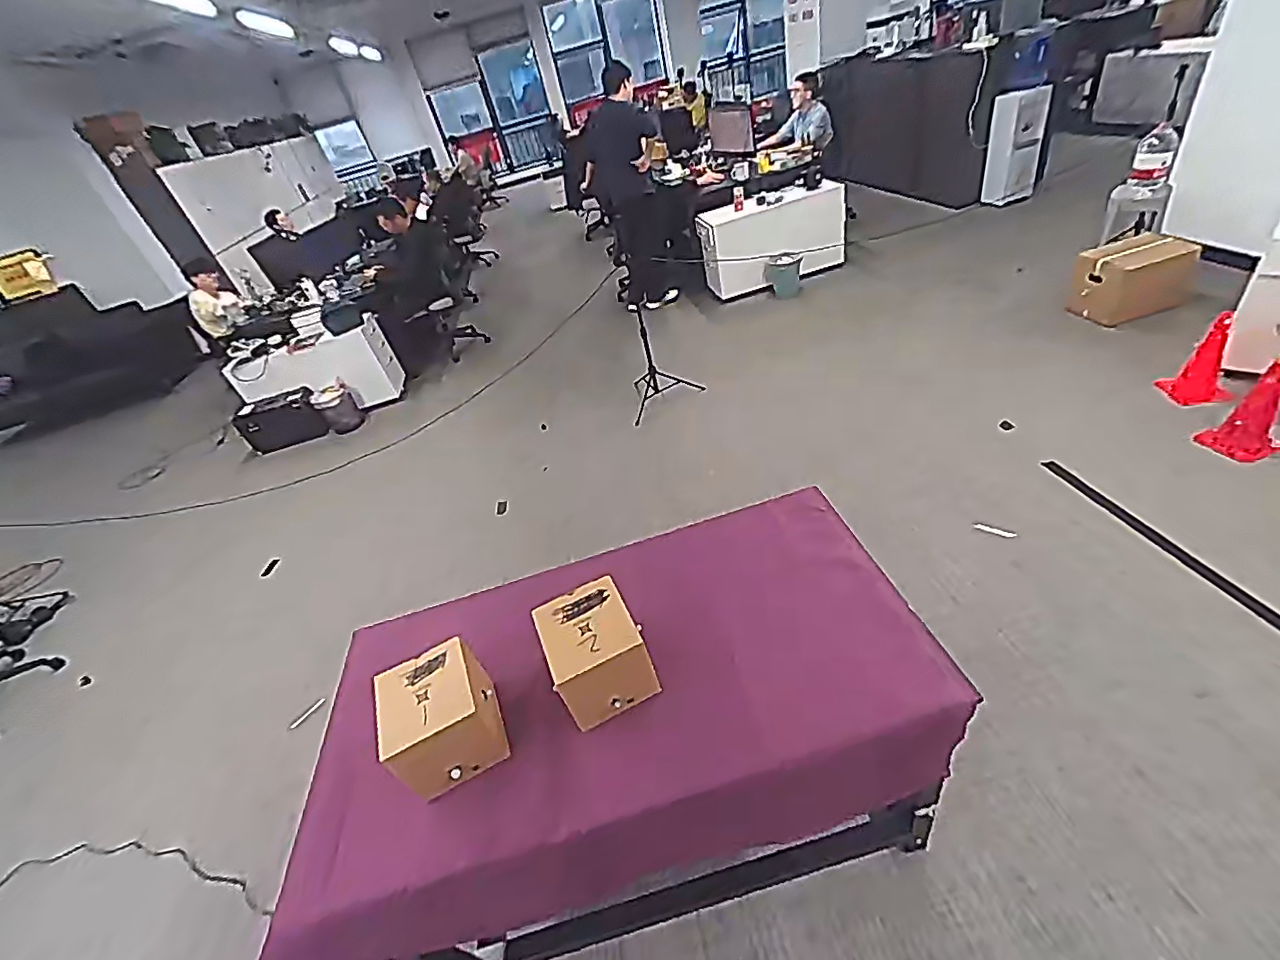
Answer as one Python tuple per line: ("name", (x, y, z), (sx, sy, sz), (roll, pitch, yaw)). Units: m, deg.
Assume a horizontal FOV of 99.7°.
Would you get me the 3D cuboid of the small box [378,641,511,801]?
("small box", (-0.355, 0.439, 0.988), (0.168, 0.176, 0.179), (-26, 39, -11))
